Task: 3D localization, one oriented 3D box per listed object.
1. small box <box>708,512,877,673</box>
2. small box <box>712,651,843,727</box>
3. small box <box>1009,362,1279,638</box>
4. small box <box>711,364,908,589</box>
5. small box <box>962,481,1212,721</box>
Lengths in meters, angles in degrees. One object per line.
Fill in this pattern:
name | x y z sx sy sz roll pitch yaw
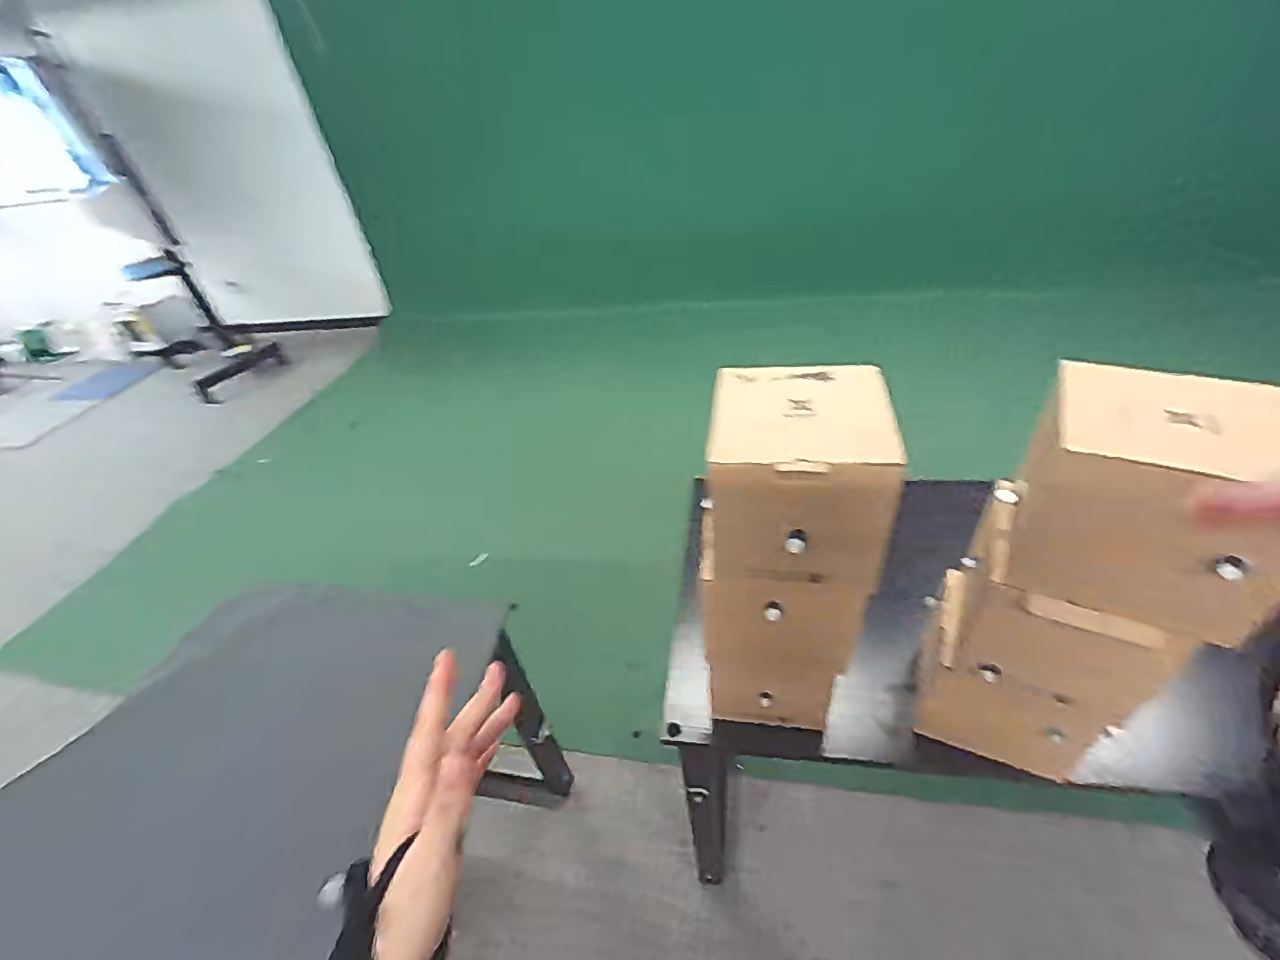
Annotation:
small box | 0.181 0.122 0.678 0.179 0.176 0.168 1 40 12
small box | 0.197 0.236 0.793 0.168 0.176 0.179 2 40 12
small box | 0.467 0.015 0.492 0.179 0.176 0.168 15 43 27
small box | 0.170 -0.004 0.572 0.168 0.176 0.179 1 41 14
small box | 0.477 0.132 0.605 0.168 0.176 0.179 14 44 25
